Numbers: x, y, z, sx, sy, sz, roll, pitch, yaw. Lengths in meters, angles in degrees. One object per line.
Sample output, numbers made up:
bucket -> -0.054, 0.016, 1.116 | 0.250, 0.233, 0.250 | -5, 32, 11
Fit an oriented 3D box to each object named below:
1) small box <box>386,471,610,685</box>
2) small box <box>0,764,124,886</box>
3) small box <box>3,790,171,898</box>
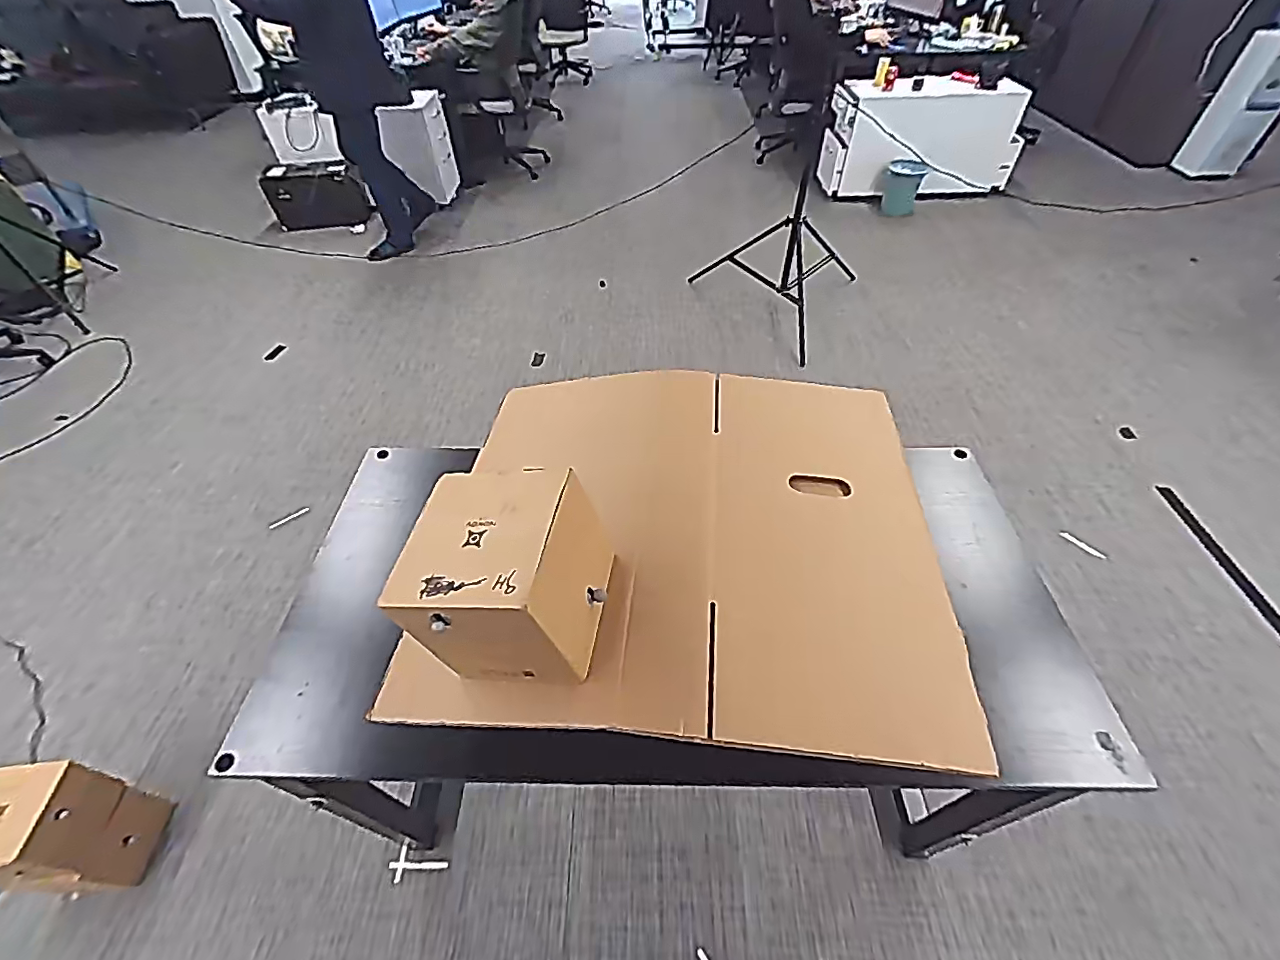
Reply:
small box -> -0.142, 0.112, 0.620 | 0.168, 0.176, 0.179 | -4, 46, 17
small box -> -1.221, 0.702, 1.095 | 0.168, 0.176, 0.179 | -5, 47, -4
small box -> -1.216, 0.816, 1.211 | 0.168, 0.176, 0.179 | -3, 48, -1
